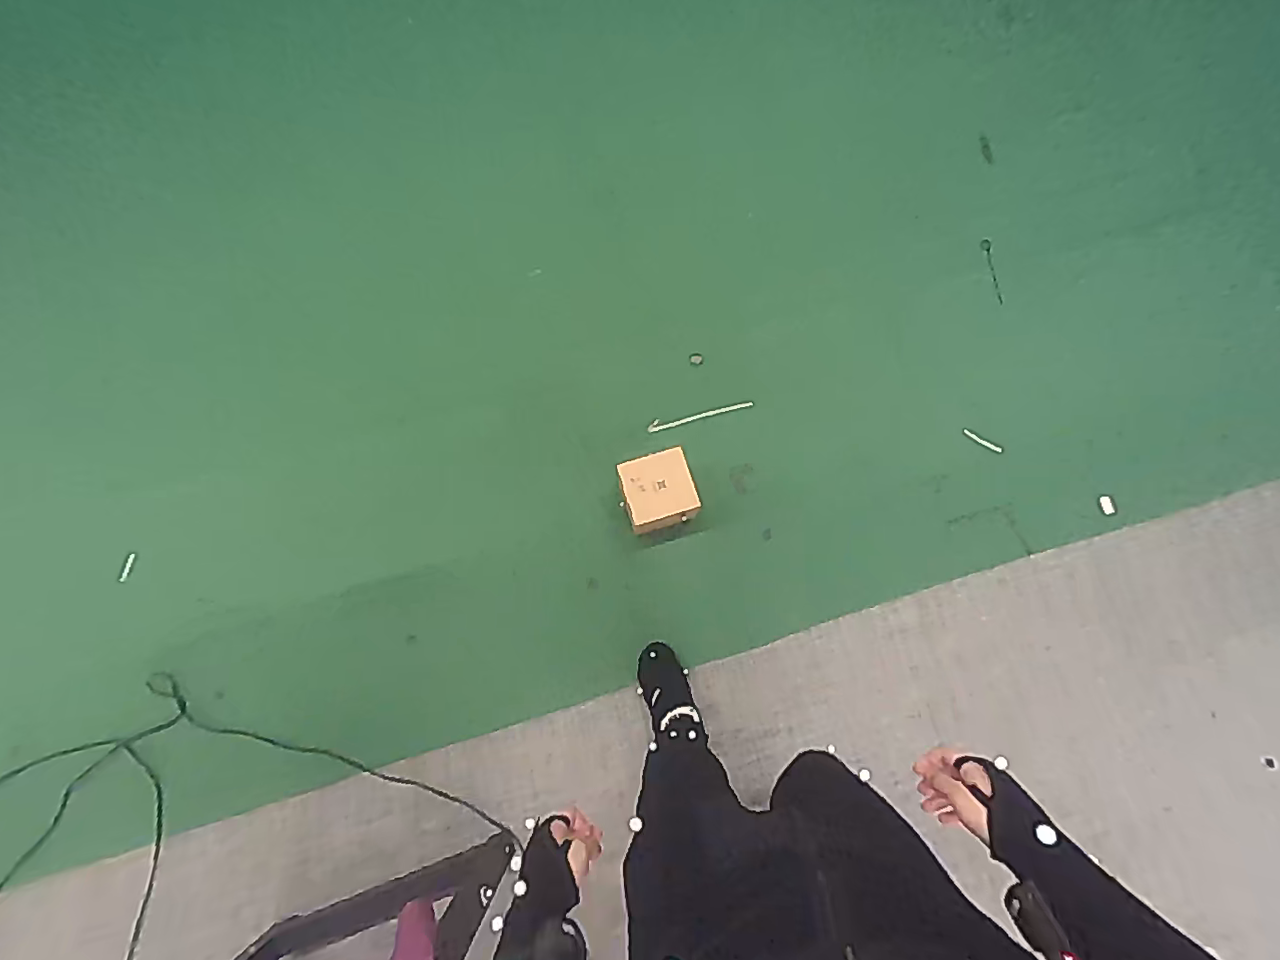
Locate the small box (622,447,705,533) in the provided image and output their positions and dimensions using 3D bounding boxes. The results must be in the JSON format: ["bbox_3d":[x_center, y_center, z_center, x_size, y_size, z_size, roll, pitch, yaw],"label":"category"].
[{"bbox_3d":[0.056,0.031,1.436,0.179,0.176,0.168,-17,76,-4],"label":"small box"}]
